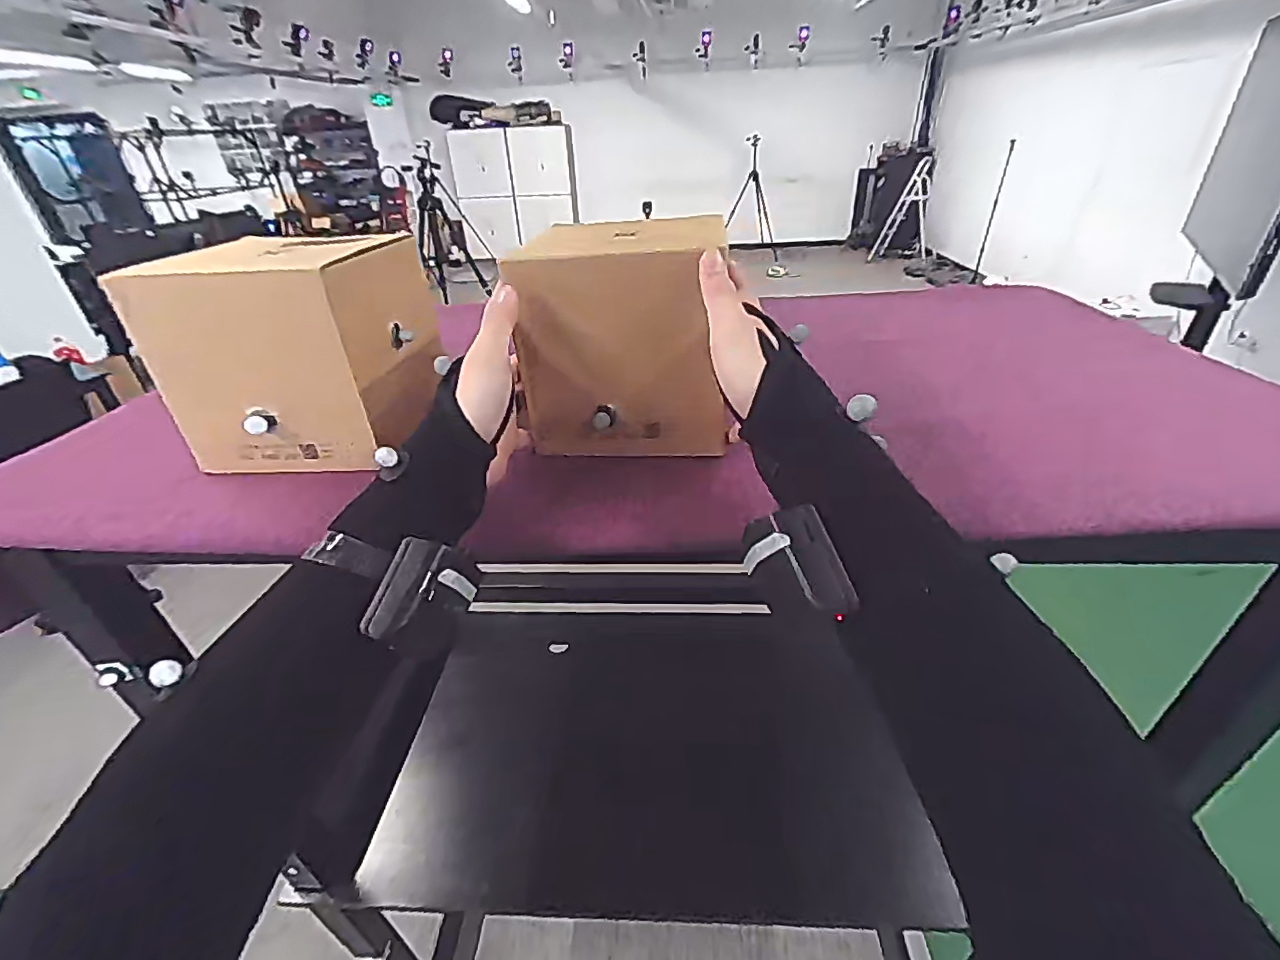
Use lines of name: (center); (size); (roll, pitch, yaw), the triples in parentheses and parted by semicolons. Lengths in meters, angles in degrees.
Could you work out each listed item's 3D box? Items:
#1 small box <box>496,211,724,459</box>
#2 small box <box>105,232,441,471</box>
small box: (-0.010, -0.135, 0.489); (0.168, 0.176, 0.179); (0, 35, 7)
small box: (-0.299, -0.123, 0.496); (0.168, 0.176, 0.179); (-1, 33, 3)
